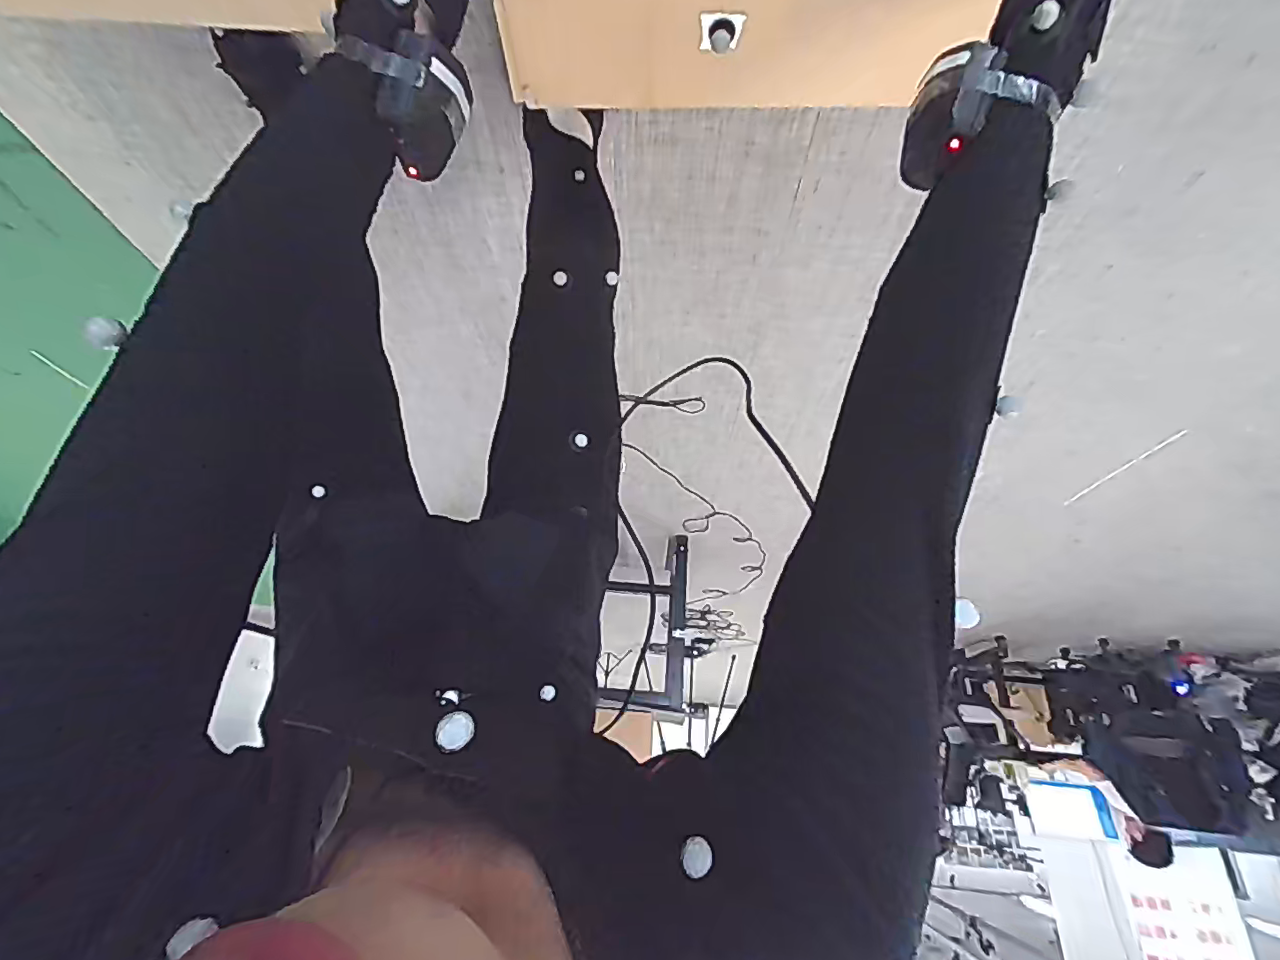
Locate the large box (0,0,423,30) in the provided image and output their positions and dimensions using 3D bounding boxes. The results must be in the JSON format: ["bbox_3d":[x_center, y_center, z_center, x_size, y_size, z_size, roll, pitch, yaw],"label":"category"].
[{"bbox_3d":[-0.385,-0.628,0.426,0.408,0.320,0.320,6,153,1],"label":"large box"}]
